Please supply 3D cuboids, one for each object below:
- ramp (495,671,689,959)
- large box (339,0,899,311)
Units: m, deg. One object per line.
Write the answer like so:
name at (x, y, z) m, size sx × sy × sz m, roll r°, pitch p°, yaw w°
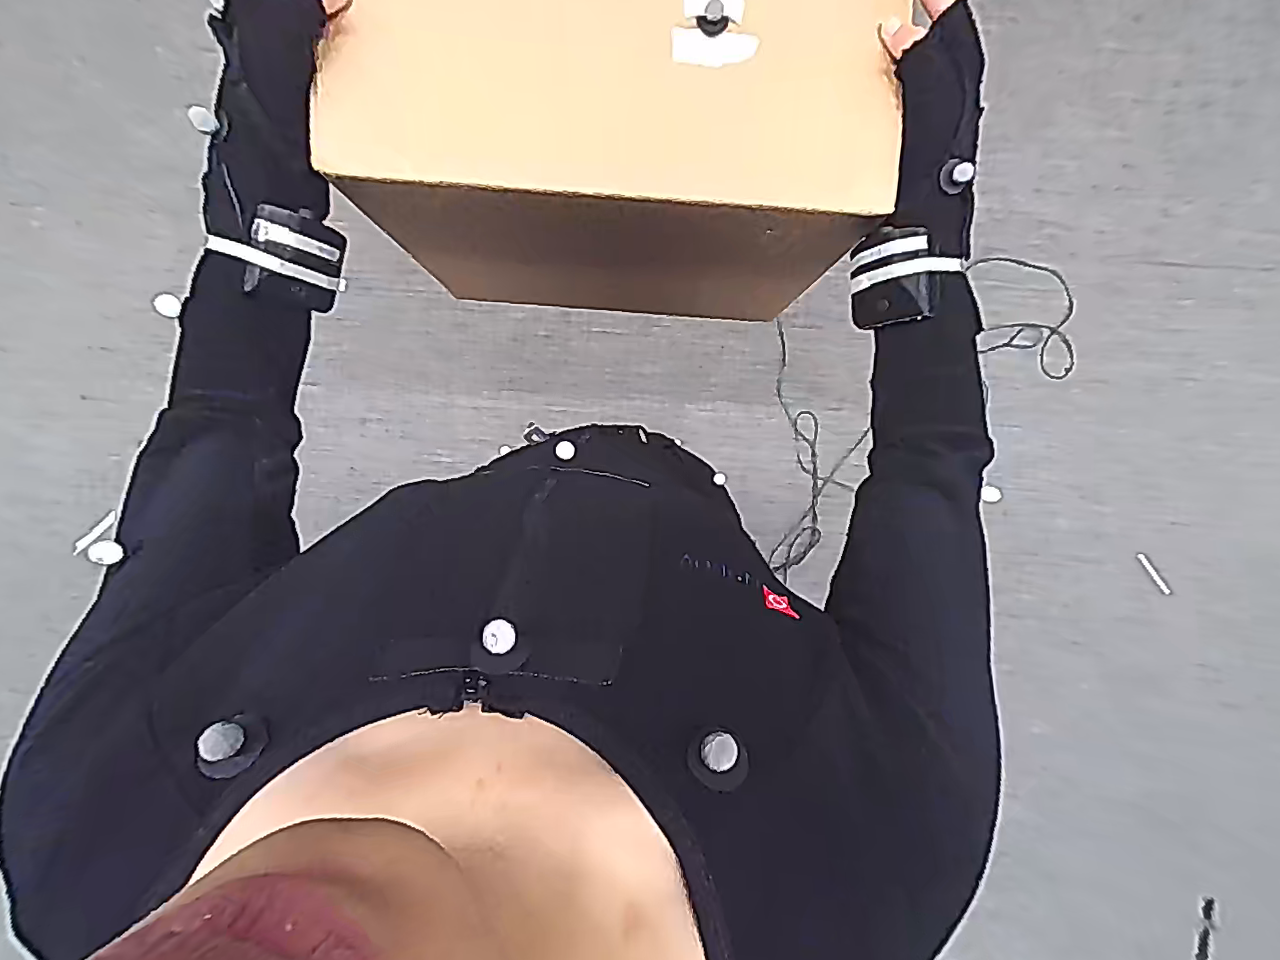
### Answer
ramp at (-0.127, 1.034, 1.440) m, size 0.509 × 0.206 × 0.991 m, roll 1°, pitch 92°, yaw 1°
large box at (-0.016, -0.368, 0.533) m, size 0.408 × 0.320 × 0.320 m, roll 3°, pitch 93°, yaw -2°
